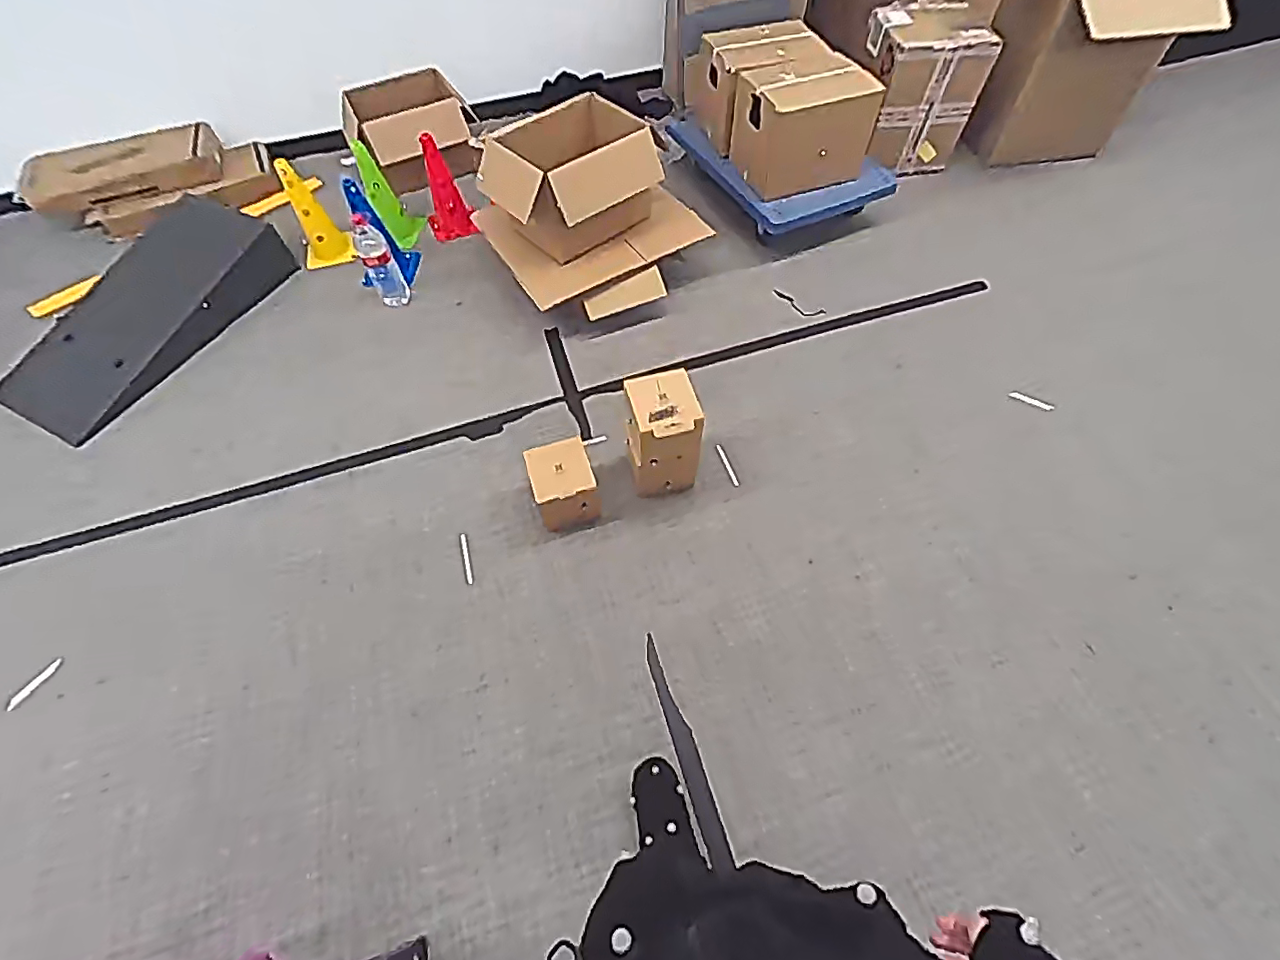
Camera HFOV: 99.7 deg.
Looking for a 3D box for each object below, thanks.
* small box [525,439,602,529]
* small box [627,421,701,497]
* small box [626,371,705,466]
[{"bbox_3d":[-0.210,0.019,1.510,0.168,0.176,0.179,-16,59,-10],"label":"small box"},{"bbox_3d":[0.063,-0.071,1.558,0.179,0.176,0.168,-11,60,-7],"label":"small box"},{"bbox_3d":[0.064,-0.152,1.413,0.168,0.176,0.179,-13,59,-7],"label":"small box"}]
